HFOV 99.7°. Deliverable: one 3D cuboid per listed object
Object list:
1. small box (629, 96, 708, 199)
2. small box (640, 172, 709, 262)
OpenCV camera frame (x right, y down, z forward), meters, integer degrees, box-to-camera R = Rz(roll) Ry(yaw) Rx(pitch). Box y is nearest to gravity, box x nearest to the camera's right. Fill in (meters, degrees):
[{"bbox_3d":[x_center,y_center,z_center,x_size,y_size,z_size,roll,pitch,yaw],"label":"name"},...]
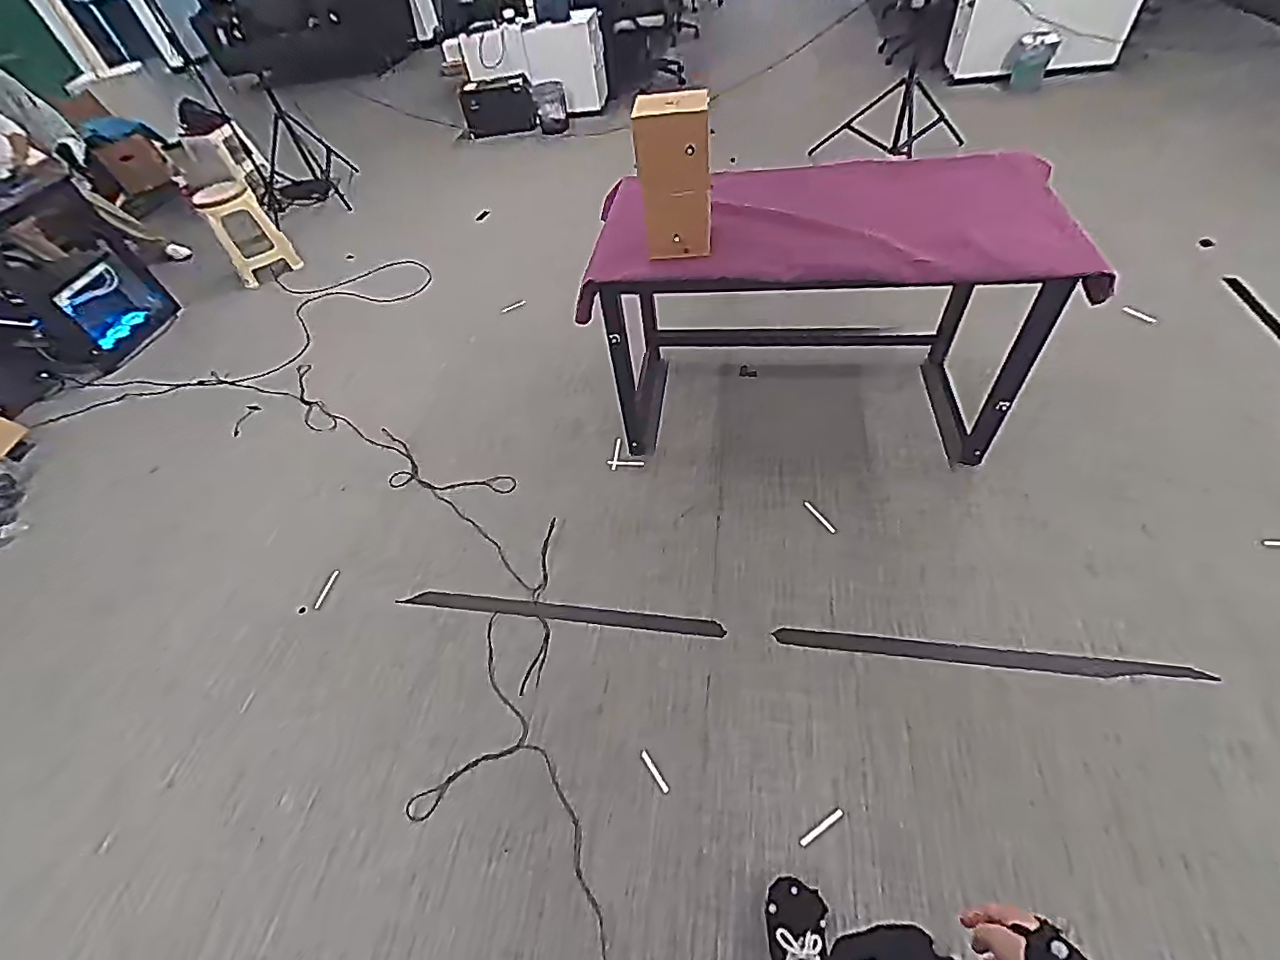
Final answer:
[{"bbox_3d":[0.077,-0.808,1.320,0.179,0.176,0.168,-1,48,9],"label":"small box"},{"bbox_3d":[0.097,-0.703,1.442,0.168,0.176,0.179,0,50,9],"label":"small box"}]
